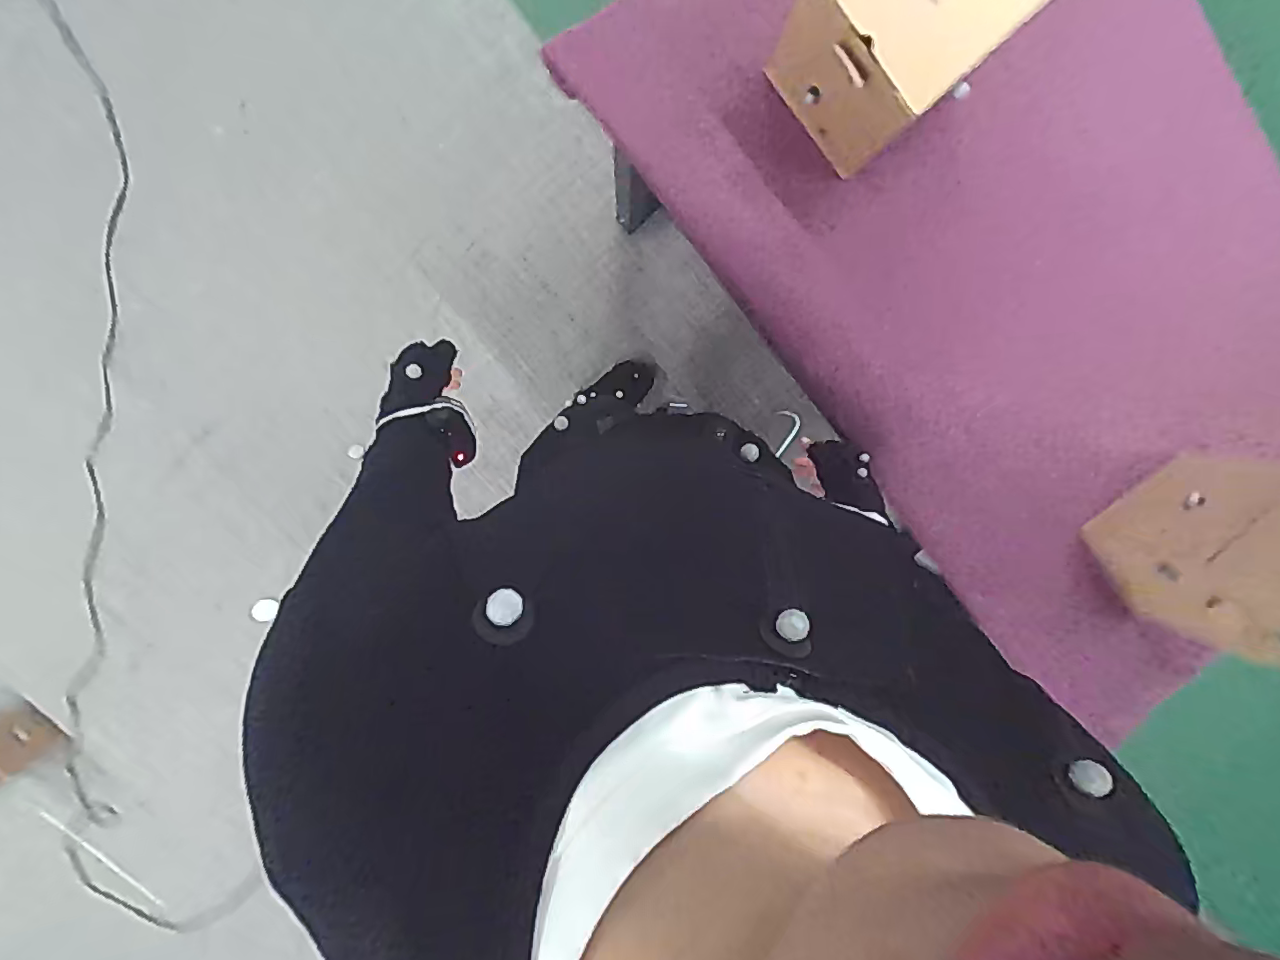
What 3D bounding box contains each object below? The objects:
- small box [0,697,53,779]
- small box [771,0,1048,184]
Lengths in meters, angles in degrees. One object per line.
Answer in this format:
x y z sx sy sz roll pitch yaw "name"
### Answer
-1.800 0.739 1.487 0.179 0.176 0.168 -40 97 4 "small box"
0.273 -0.470 0.589 0.179 0.176 0.168 -40 100 6 "small box"
